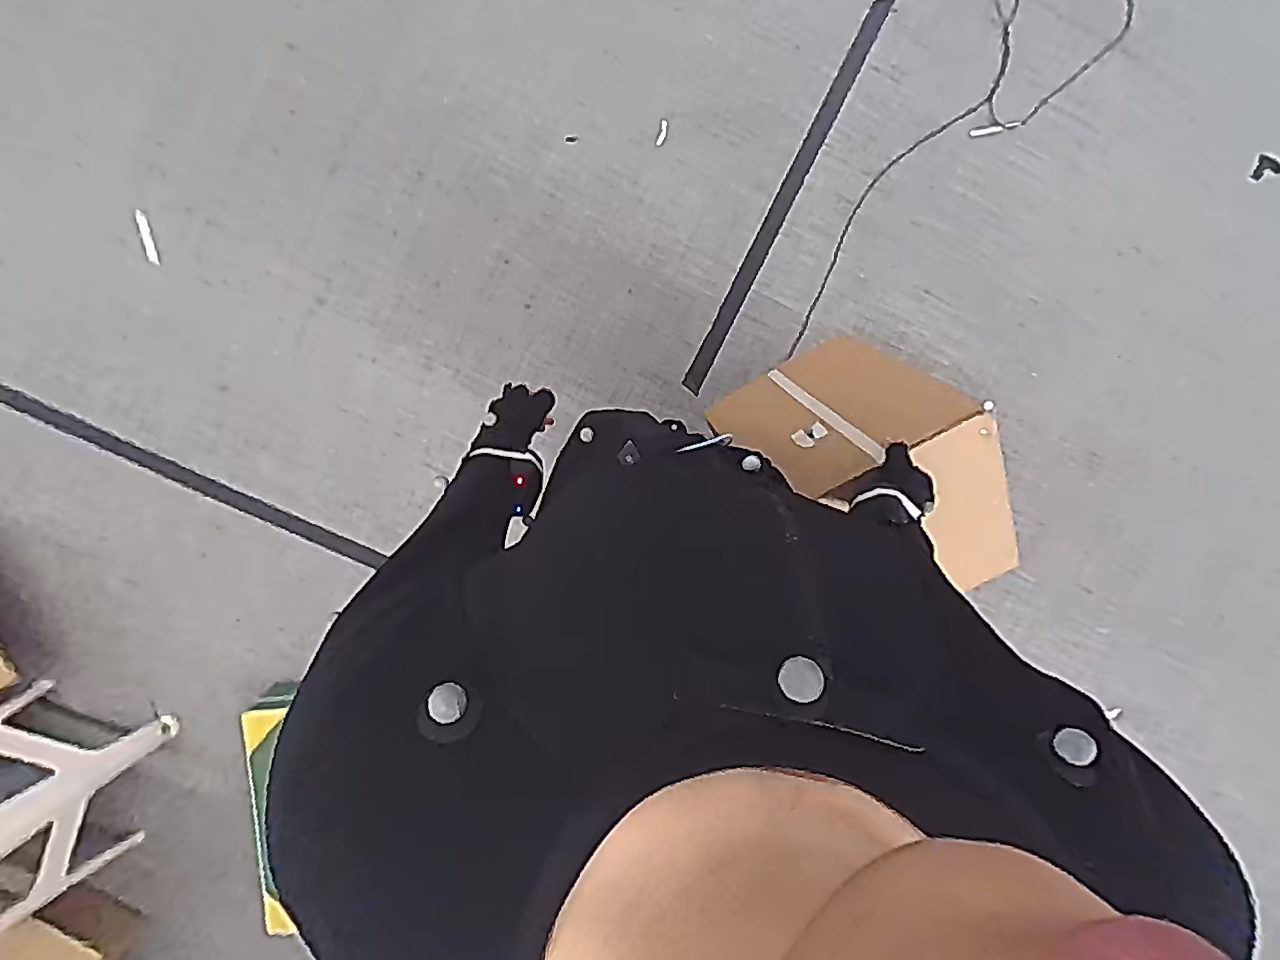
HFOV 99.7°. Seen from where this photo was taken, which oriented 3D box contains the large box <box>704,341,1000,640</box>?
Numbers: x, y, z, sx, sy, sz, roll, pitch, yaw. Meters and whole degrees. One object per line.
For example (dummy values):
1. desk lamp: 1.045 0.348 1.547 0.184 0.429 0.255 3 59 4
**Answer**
1. large box: 0.359 -0.001 0.982 0.320 0.408 0.320 -28 121 5
